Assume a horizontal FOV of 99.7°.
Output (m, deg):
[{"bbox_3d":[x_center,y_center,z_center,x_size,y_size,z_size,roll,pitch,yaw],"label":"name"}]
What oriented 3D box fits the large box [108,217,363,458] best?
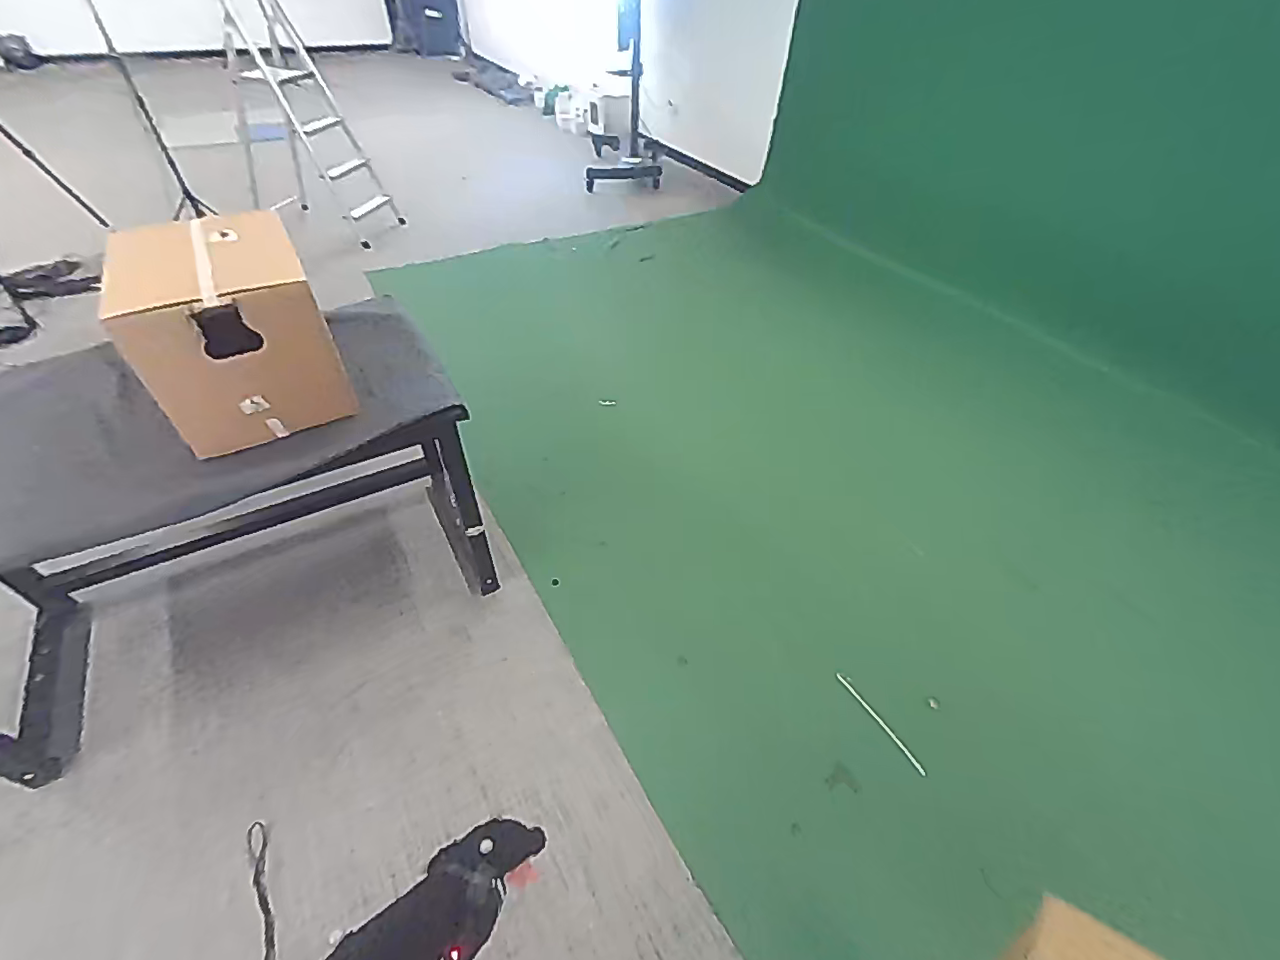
[{"bbox_3d":[-0.845,-0.316,1.156,0.320,0.320,0.408,-23,49,-24],"label":"large box"}]
